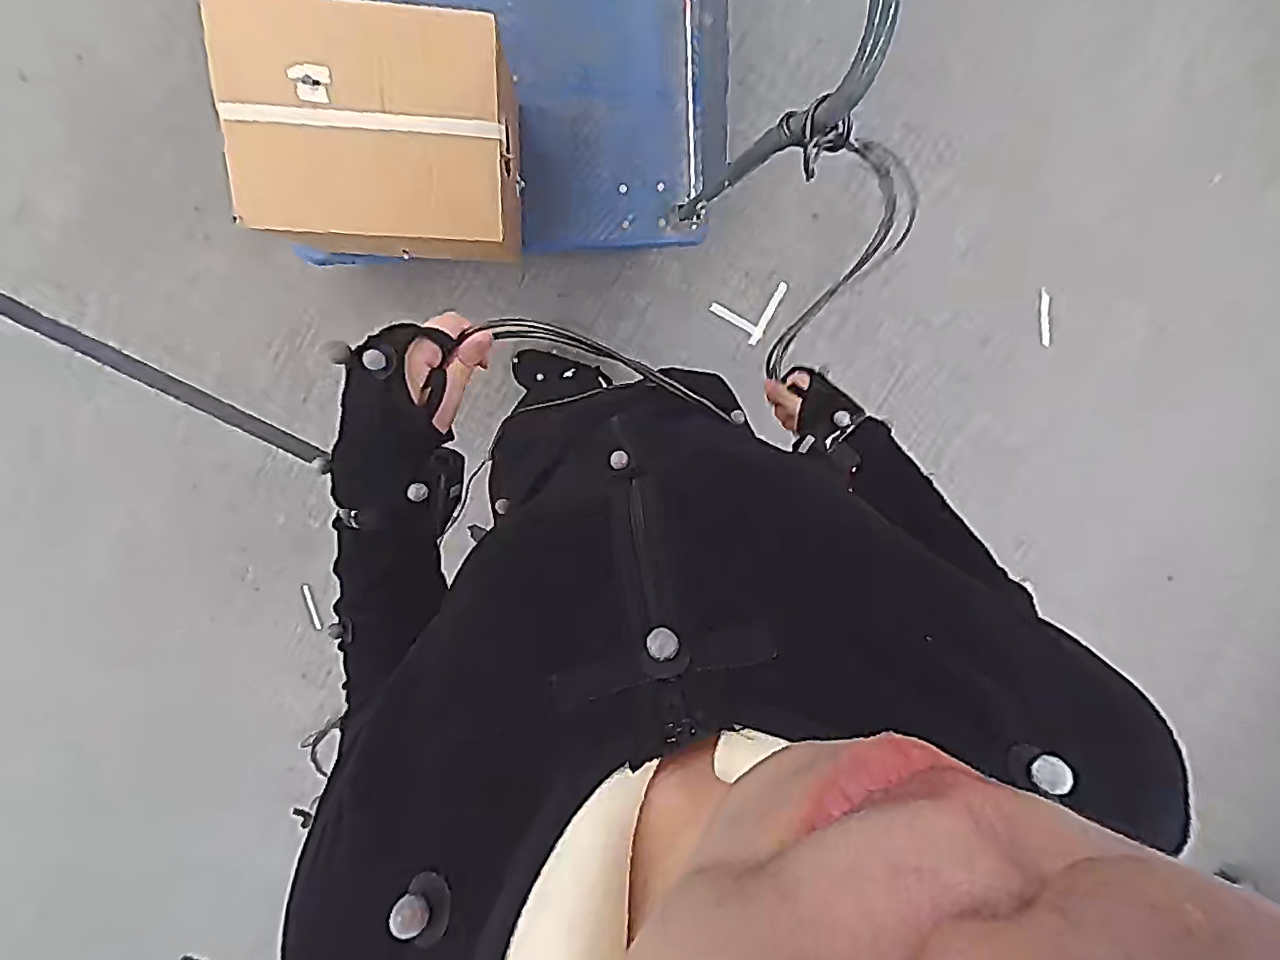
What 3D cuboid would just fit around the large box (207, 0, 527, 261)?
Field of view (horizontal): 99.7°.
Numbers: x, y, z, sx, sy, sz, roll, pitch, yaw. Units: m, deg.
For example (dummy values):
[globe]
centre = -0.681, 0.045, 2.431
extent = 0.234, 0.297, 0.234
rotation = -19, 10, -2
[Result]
[large box]
centre = -0.422, -0.567, 0.951
extent = 0.408, 0.320, 0.320
rotation = 1, 105, -5
